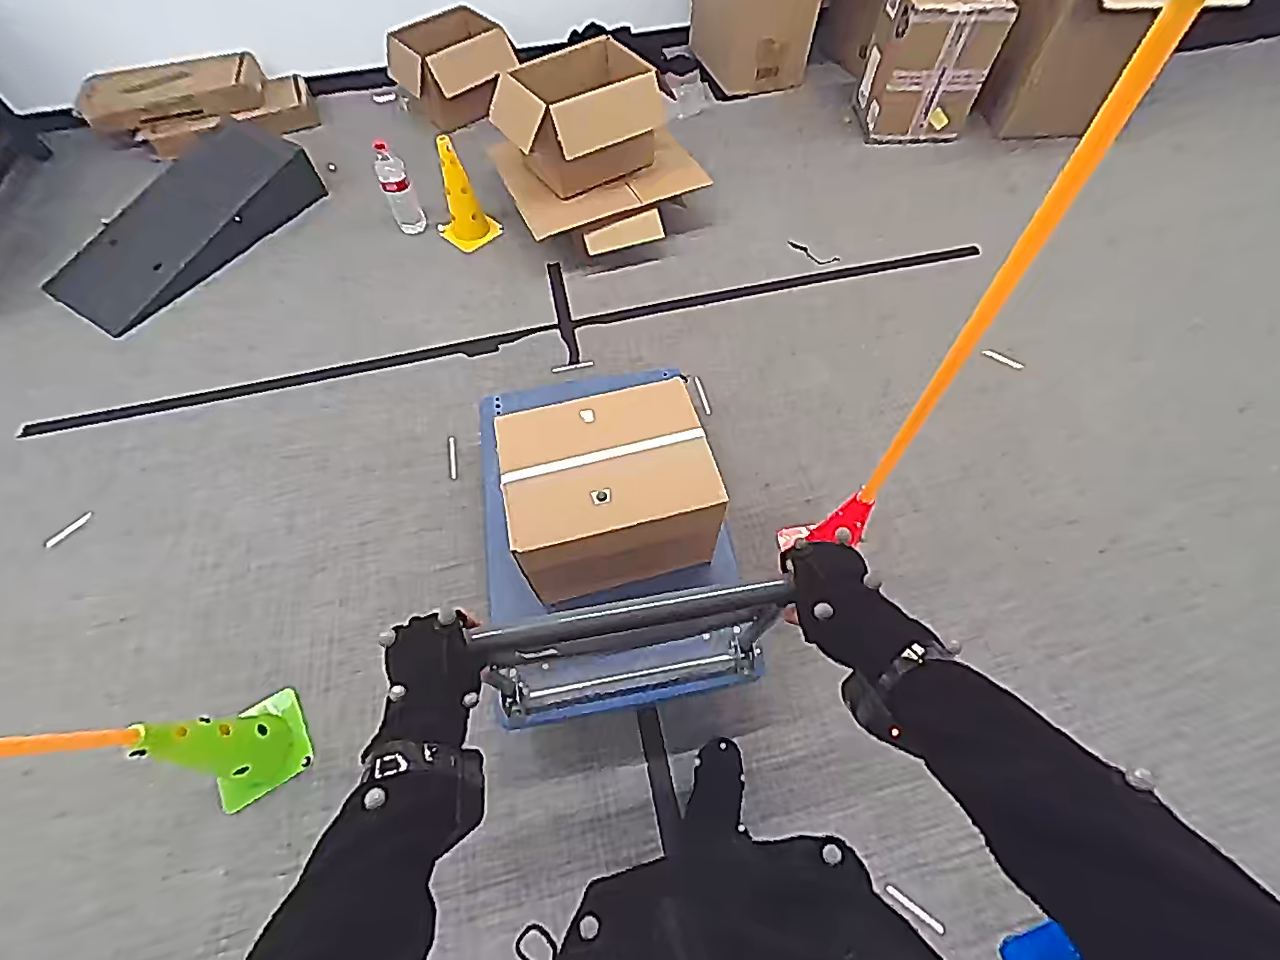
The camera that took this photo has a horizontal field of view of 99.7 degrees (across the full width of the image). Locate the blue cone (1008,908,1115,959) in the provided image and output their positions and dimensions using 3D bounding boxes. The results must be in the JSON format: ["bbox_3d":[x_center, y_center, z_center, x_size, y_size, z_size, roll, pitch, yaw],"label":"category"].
[{"bbox_3d":[0.816,0.865,0.876,0.193,0.380,0.192,-15,60,-8],"label":"blue cone"}]

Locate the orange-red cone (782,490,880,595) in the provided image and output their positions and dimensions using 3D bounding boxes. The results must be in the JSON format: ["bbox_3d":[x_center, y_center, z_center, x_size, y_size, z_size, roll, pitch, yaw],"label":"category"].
[{"bbox_3d":[0.489,0.122,1.290,0.199,0.360,0.198,-6,61,-3],"label":"orange-red cone"}]
